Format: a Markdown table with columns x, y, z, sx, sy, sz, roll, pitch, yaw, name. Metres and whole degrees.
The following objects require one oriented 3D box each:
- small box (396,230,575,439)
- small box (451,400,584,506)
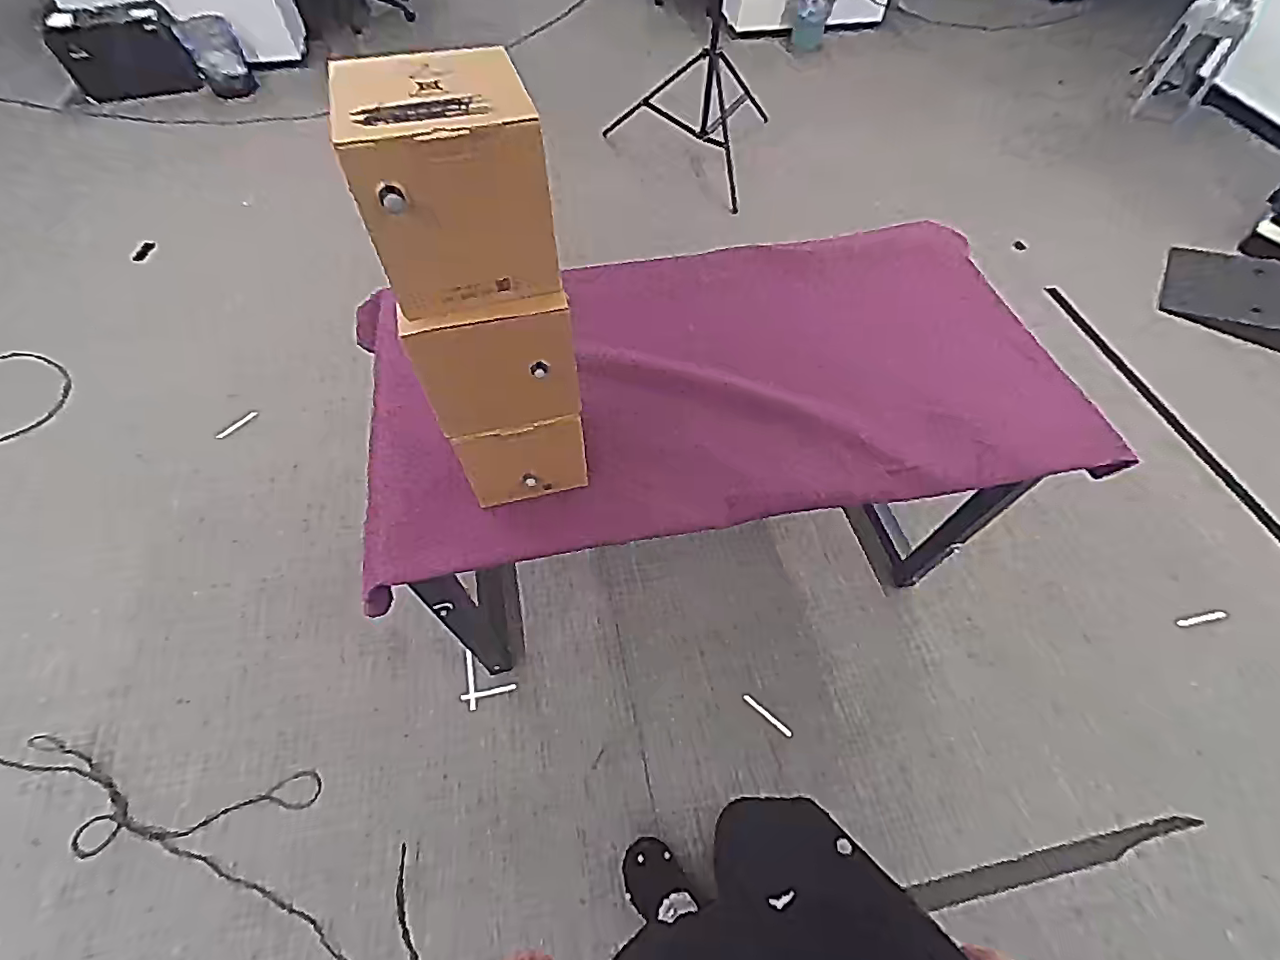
| x | y | z | sx | sy | sz | roll | pitch | yaw | name |
| --- | --- | --- | --- | --- | --- | --- | --- | --- | --- |
| -0.181 | -0.175 | 0.670 | 0.179 | 0.176 | 0.168 | -14 | 57 | -9 | small box |
| -0.183 | -0.087 | 0.805 | 0.168 | 0.176 | 0.179 | -12 | 59 | -9 | small box |
